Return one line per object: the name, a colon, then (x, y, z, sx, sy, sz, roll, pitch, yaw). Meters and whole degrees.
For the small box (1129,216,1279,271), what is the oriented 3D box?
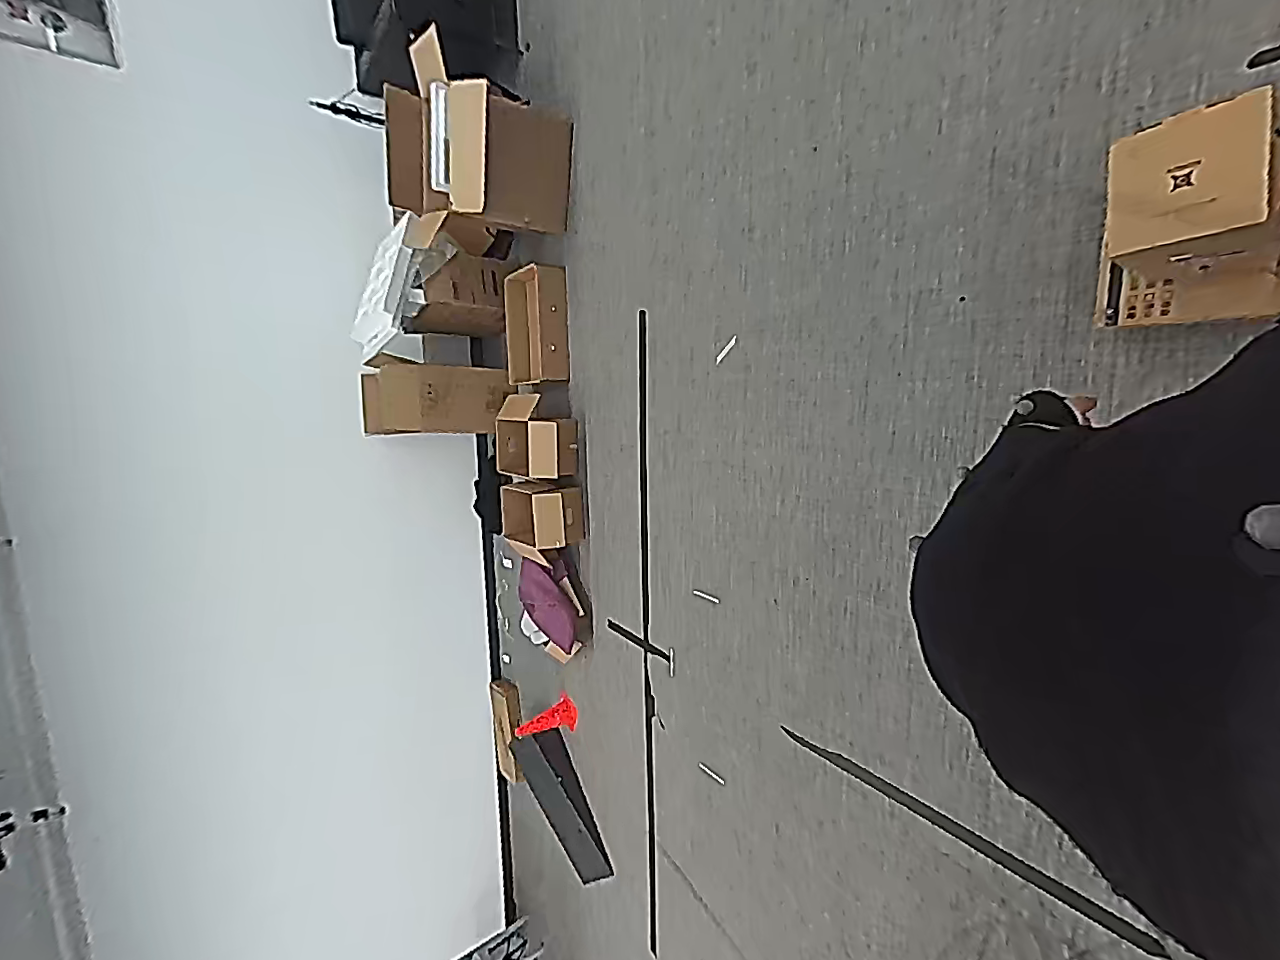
small box: (0.961, -0.455, 0.906, 0.168, 0.176, 0.179, 13, 107, 51)

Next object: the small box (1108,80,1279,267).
small box: (0.830, -0.439, 0.810, 0.168, 0.176, 0.179, 2, 98, 53)
